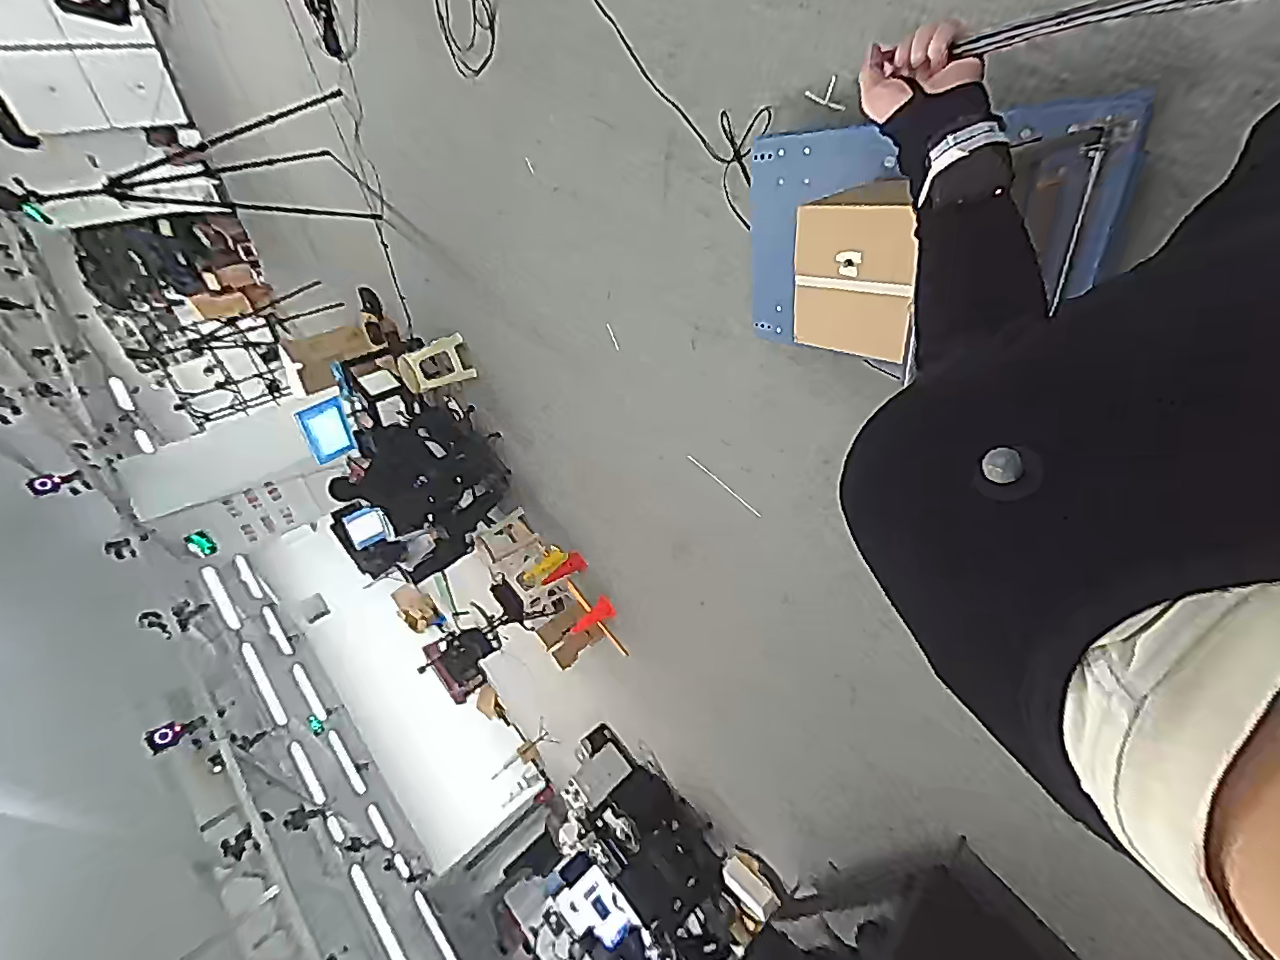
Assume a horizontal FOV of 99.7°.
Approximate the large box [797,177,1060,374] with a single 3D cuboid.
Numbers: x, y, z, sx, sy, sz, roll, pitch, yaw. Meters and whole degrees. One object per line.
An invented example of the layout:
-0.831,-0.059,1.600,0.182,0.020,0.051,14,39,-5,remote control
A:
0.612,-0.466,1.200,0.408,0.320,0.320,28,137,43,large box
